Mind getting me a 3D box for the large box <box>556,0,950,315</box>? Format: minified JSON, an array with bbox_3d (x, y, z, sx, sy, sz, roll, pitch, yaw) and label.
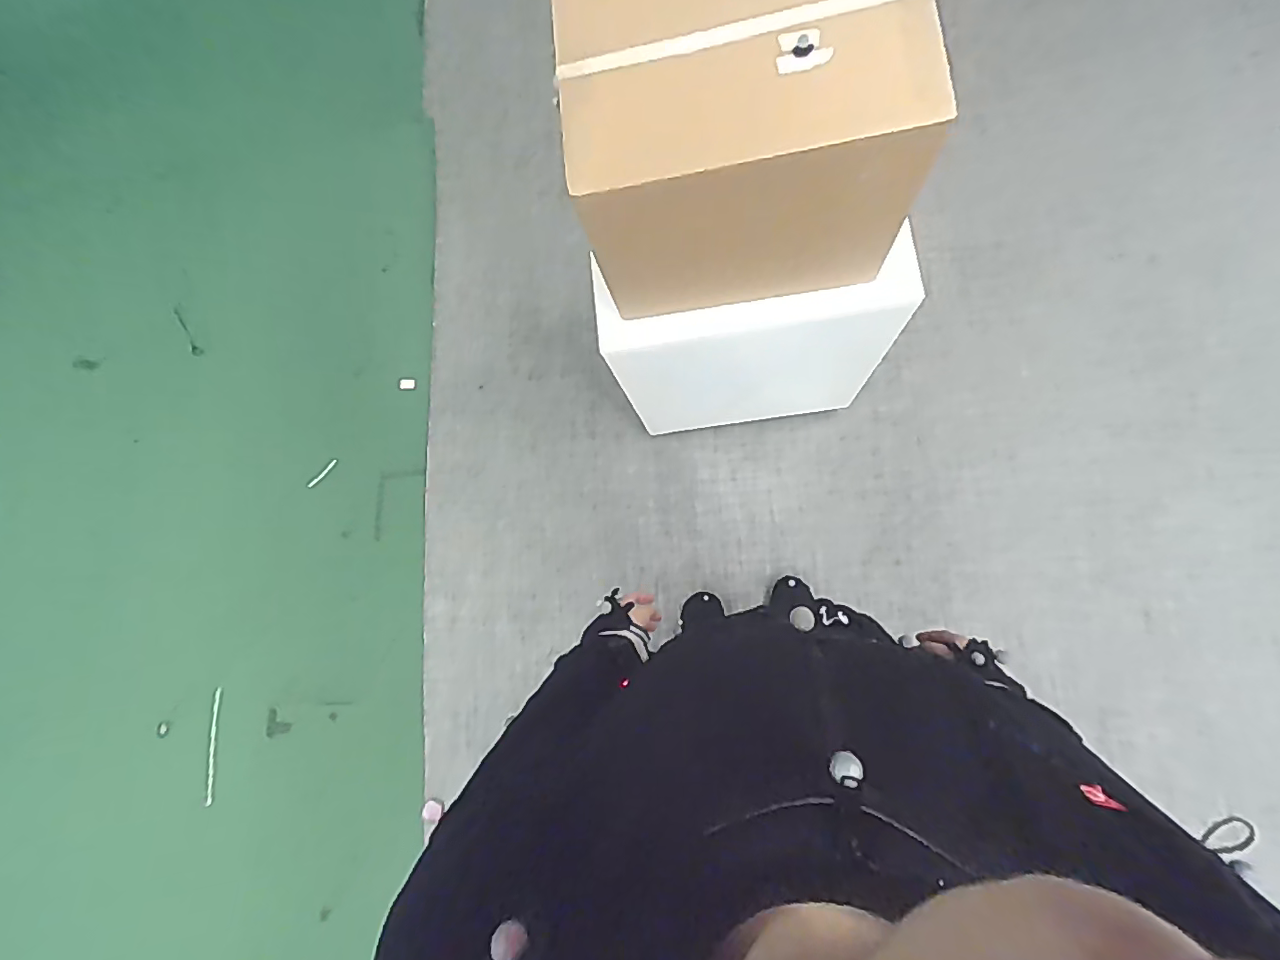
[{"bbox_3d":[0.126,-0.465,0.745,0.408,0.320,0.320,-7,80,7],"label":"large box"}]
